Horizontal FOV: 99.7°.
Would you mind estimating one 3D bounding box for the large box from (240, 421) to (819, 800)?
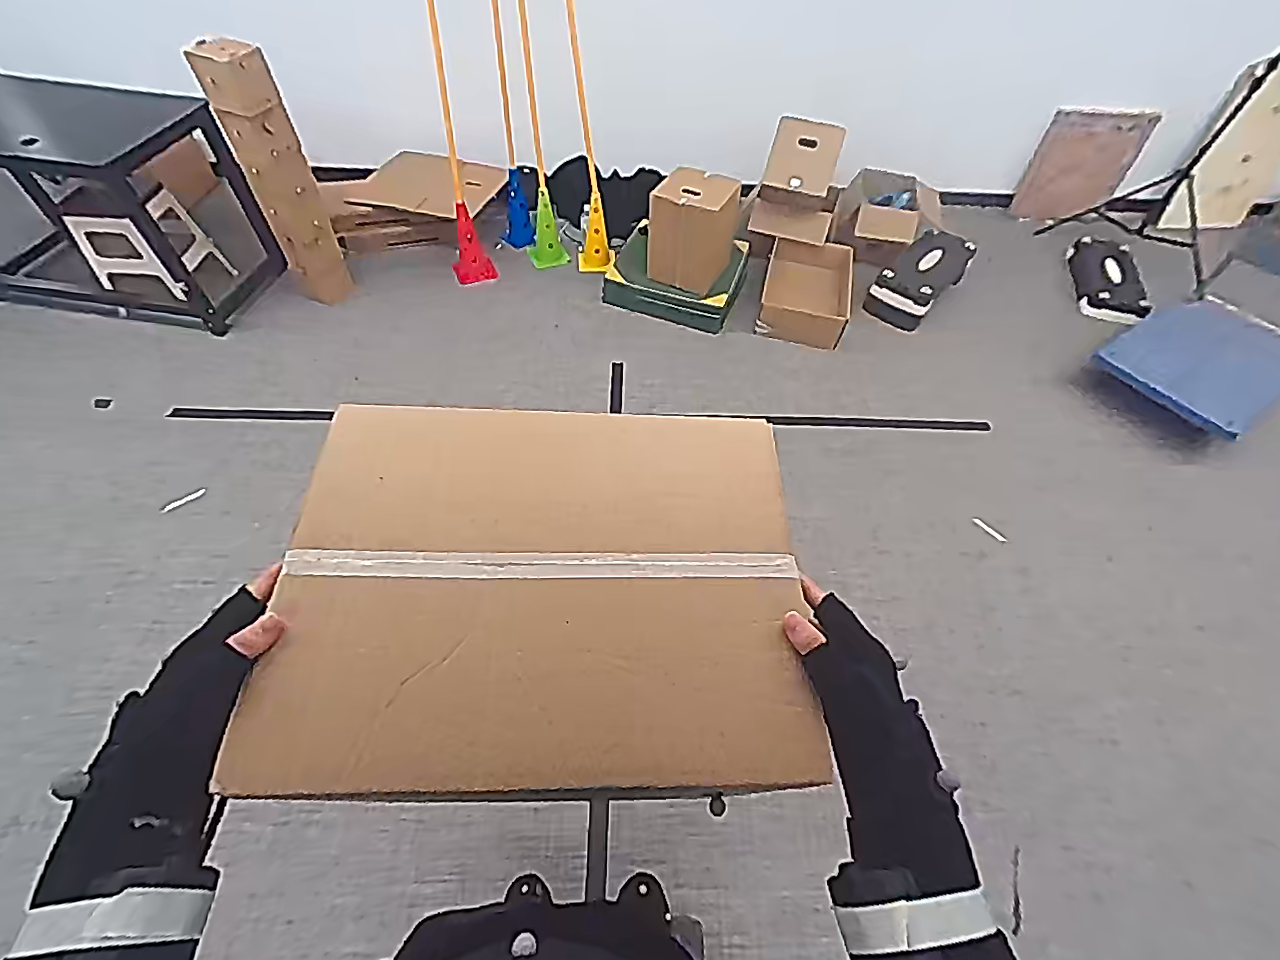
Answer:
[{"bbox_3d":[-0.082,0.153,0.573,0.408,0.320,0.320,1,58,-4],"label":"large box"}]

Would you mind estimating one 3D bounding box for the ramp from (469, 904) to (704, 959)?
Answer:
[{"bbox_3d":[-0.106,1.362,0.939,0.509,0.206,0.991,1,54,-4],"label":"ramp"}]
